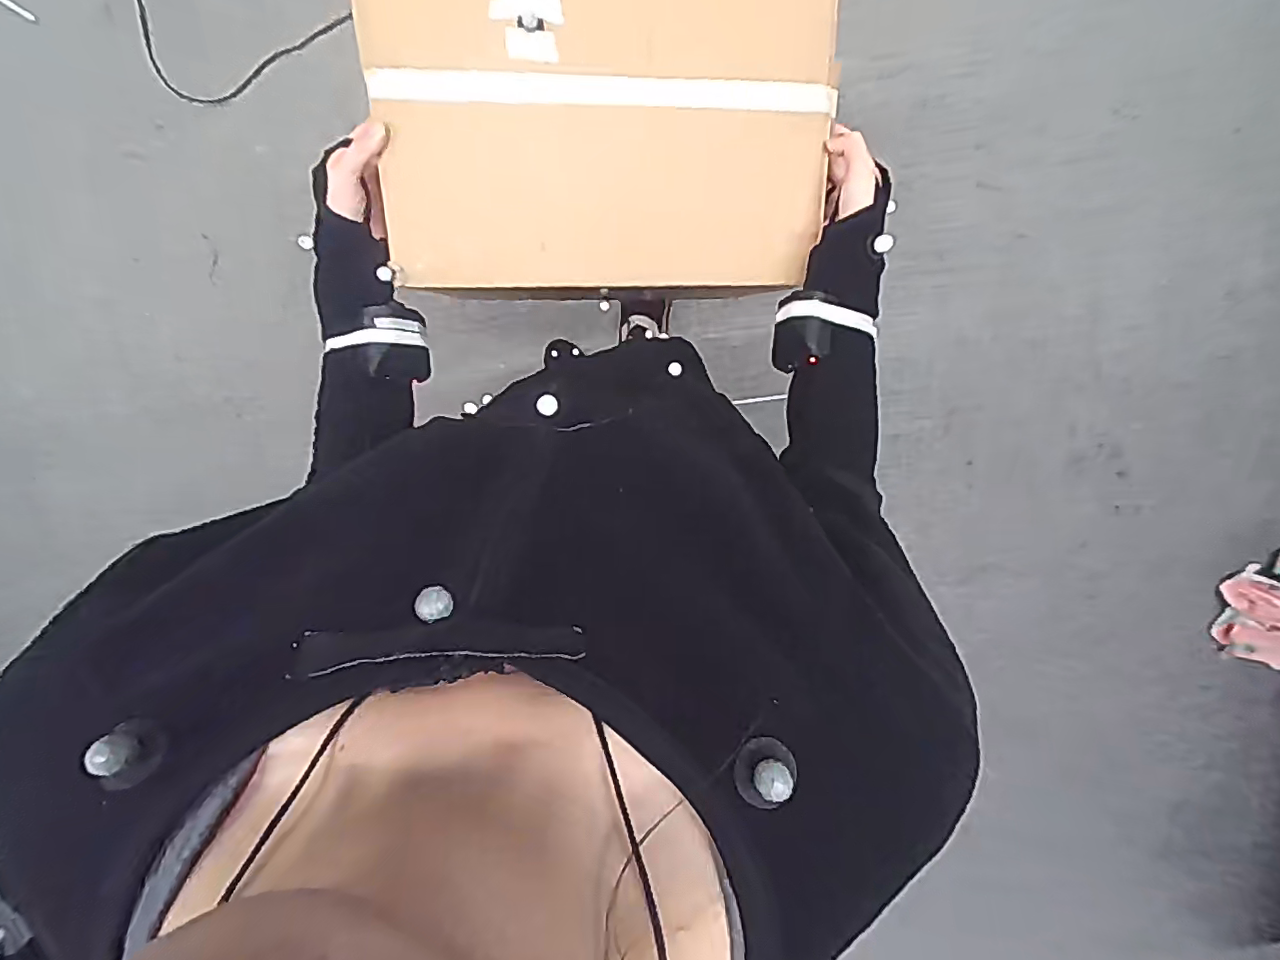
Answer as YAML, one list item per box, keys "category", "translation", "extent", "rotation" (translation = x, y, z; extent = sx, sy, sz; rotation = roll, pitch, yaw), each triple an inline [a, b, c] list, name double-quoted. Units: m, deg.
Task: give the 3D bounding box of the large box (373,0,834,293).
- category: "large box"
  translation: [-0.039, -0.383, 0.627]
  extent: [0.408, 0.320, 0.320]
  rotation: [-2, 107, -7]
